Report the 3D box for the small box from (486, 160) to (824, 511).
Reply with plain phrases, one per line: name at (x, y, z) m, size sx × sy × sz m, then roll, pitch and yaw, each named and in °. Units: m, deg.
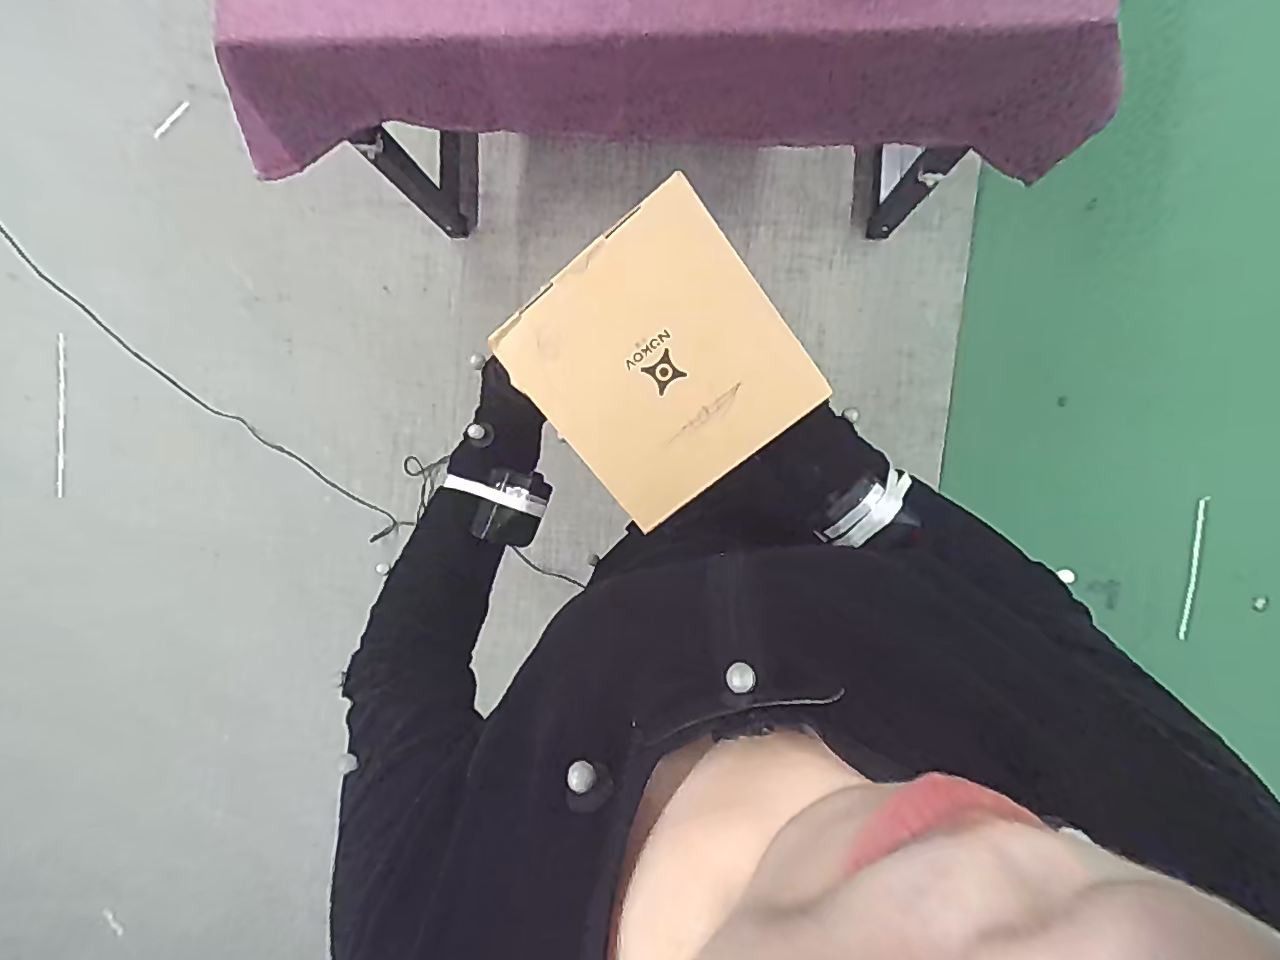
small box at (0.011, -0.108, 0.441) m, size 0.168 × 0.176 × 0.179 m, roll -37°, pitch 102°, yaw 10°
